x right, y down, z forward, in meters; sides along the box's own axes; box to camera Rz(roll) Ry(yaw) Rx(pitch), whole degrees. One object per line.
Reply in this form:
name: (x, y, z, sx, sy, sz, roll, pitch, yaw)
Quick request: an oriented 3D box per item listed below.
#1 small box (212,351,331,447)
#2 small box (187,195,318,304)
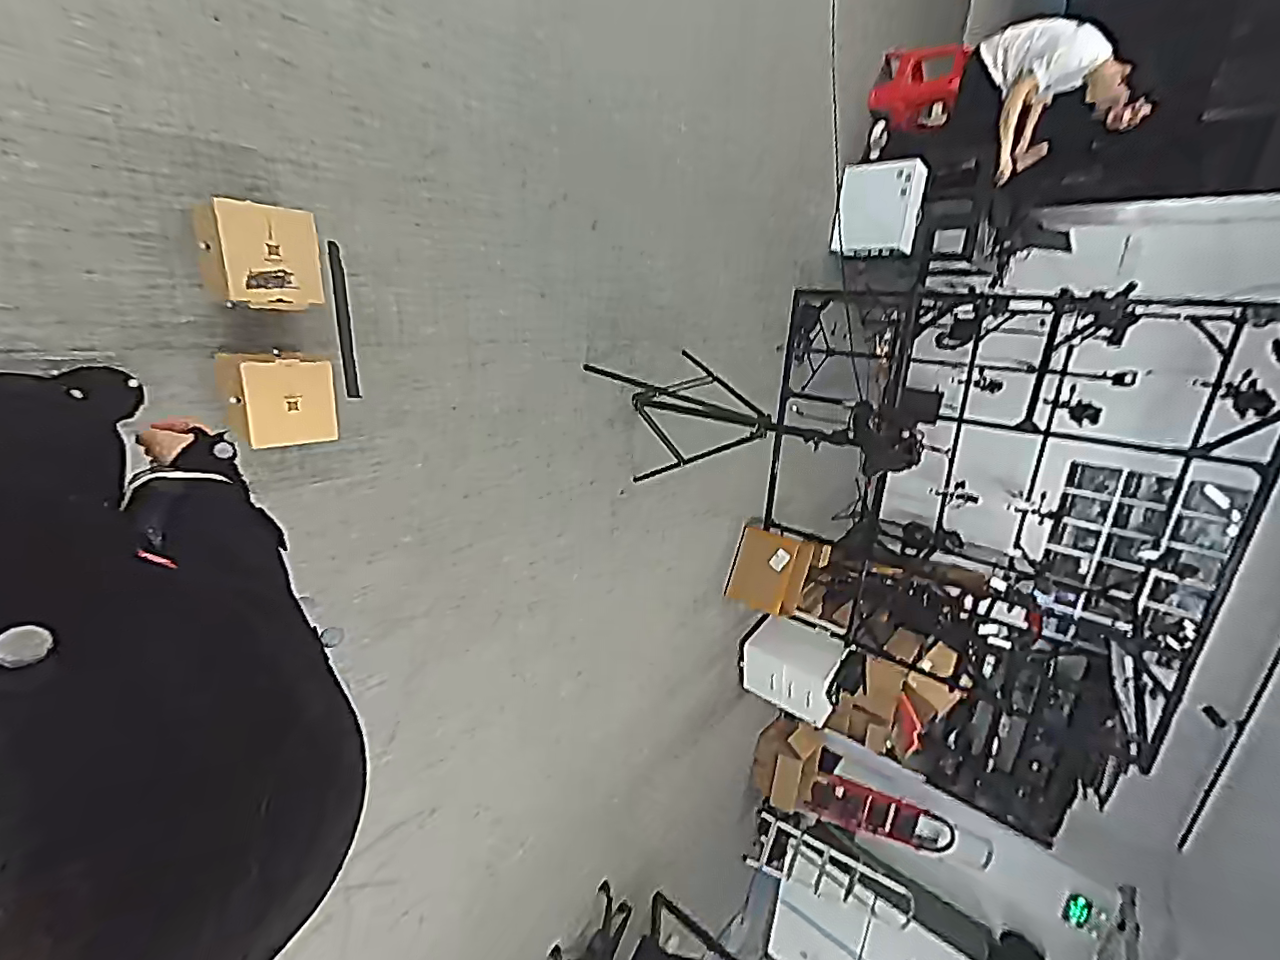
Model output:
small box: (-0.791, -0.180, 1.164, 0.168, 0.176, 0.179, -15, 114, -48)
small box: (-0.772, -0.450, 1.080, 0.168, 0.176, 0.179, -16, 115, -48)
